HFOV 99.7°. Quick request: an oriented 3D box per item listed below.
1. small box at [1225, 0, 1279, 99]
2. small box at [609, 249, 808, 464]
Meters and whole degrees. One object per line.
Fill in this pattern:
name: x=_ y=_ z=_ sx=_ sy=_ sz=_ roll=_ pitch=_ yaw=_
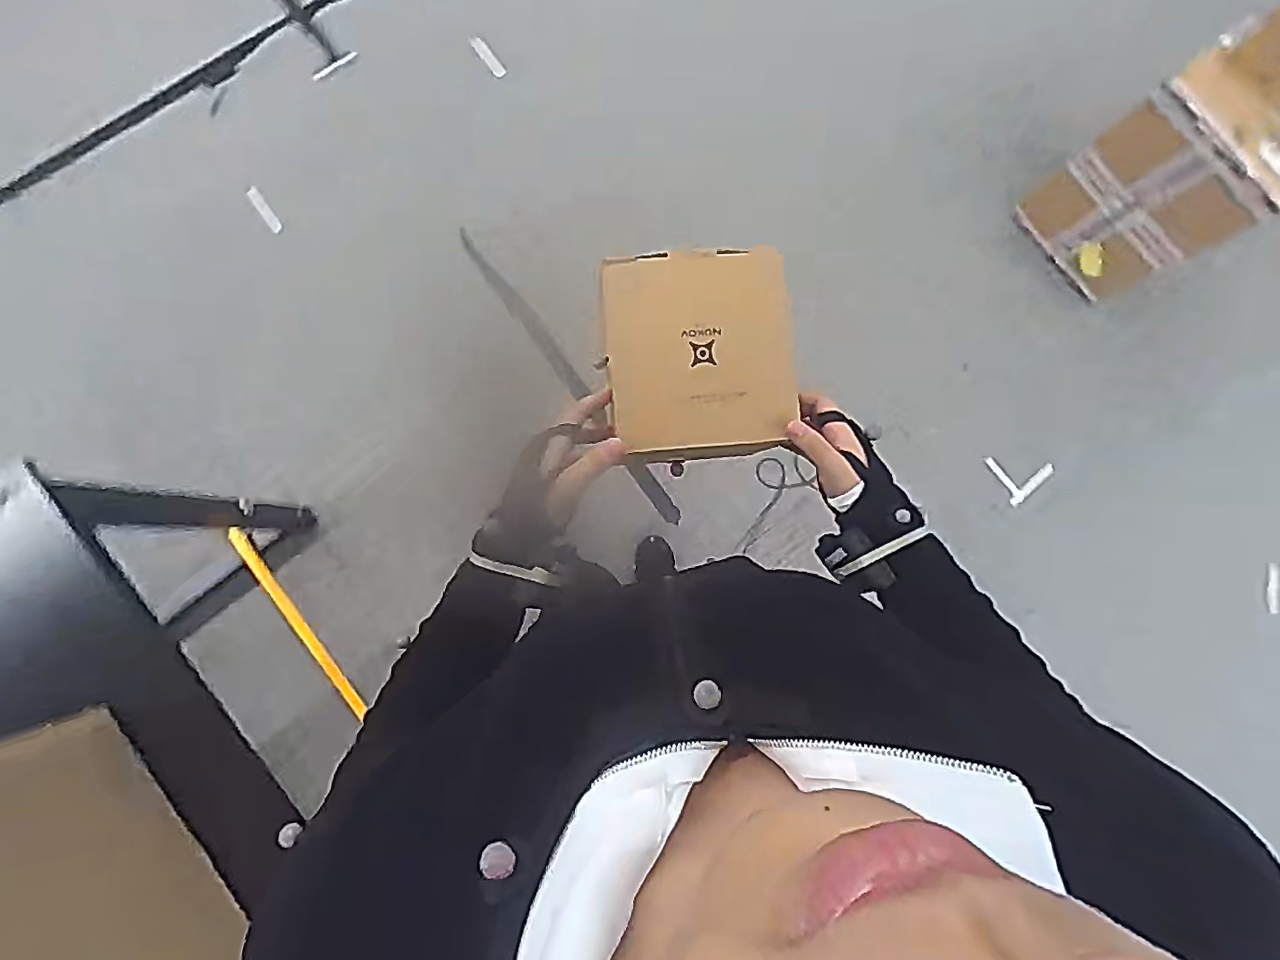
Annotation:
small box: x=1.427 y=-0.971 z=1.149 sx=0.179 sy=0.176 sz=0.168 roll=-39 pitch=86 yaw=-3
small box: x=0.056 y=-0.113 z=0.554 sx=0.168 sy=0.176 sz=0.179 roll=-4 pitch=88 yaw=-4
